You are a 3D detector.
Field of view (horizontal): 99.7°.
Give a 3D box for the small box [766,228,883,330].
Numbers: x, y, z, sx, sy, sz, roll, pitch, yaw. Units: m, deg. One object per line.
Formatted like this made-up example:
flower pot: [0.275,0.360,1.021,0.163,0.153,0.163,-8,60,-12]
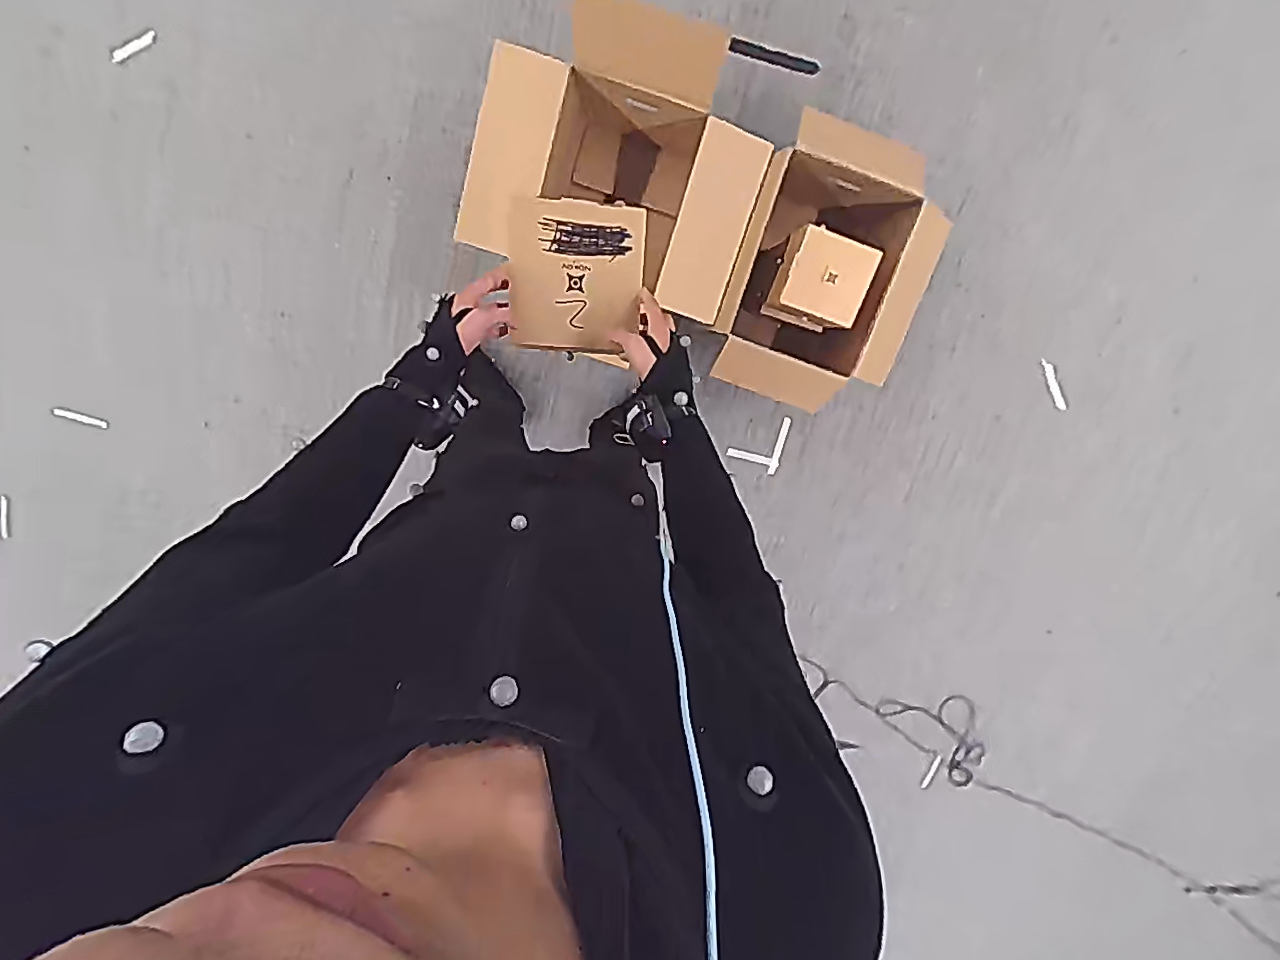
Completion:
small box: [0.410,-0.453,1.233,0.179,0.176,0.168,18,106,-4]
